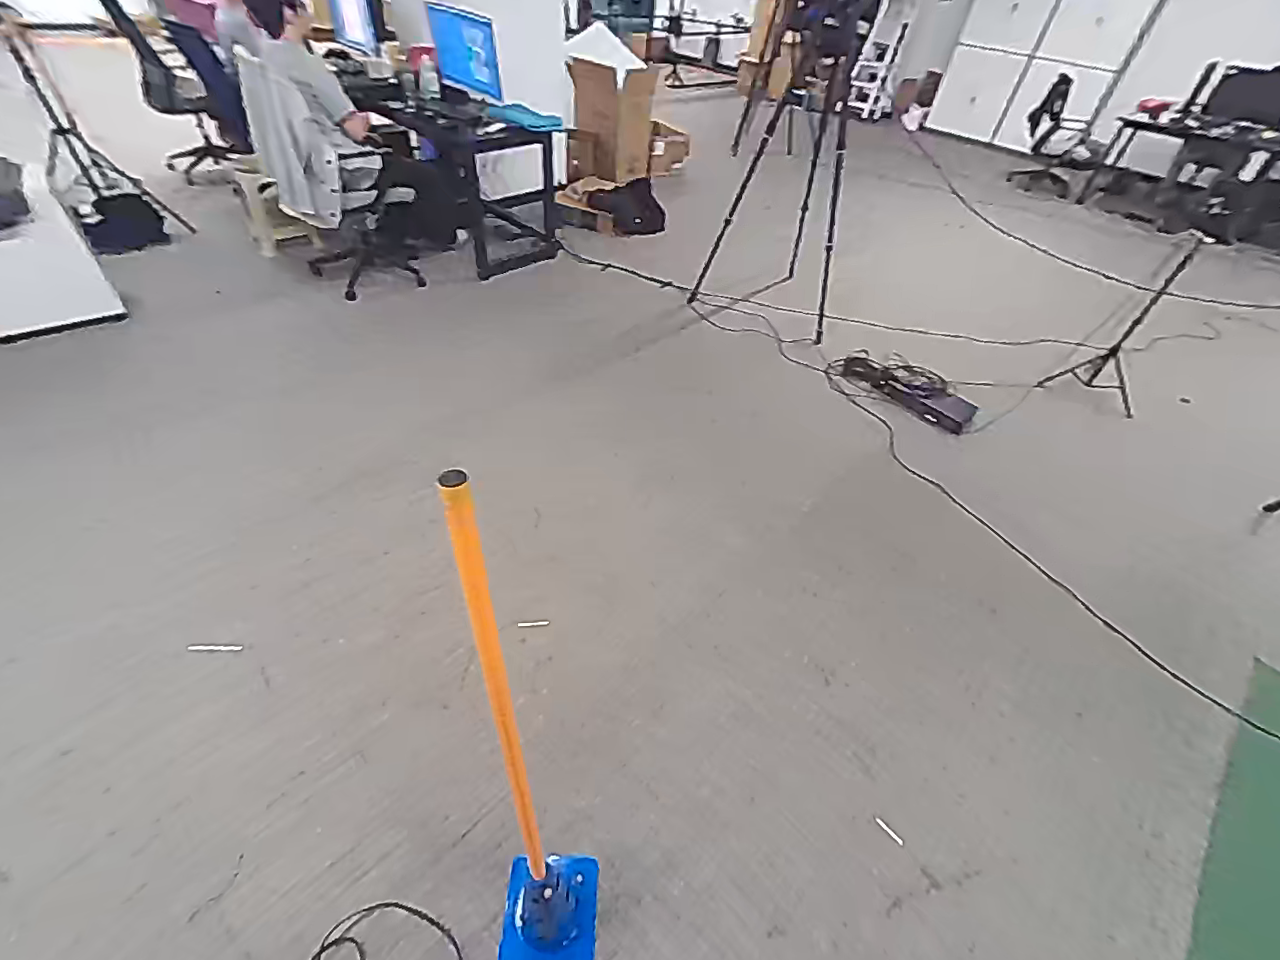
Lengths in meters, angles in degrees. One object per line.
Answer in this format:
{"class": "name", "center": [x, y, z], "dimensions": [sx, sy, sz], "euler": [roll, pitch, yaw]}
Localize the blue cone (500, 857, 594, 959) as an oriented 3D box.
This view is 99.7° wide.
{"class": "blue cone", "center": [-0.187, 0.806, 1.052], "dimensions": [0.192, 0.380, 0.193], "euler": [3, 42, -3]}
